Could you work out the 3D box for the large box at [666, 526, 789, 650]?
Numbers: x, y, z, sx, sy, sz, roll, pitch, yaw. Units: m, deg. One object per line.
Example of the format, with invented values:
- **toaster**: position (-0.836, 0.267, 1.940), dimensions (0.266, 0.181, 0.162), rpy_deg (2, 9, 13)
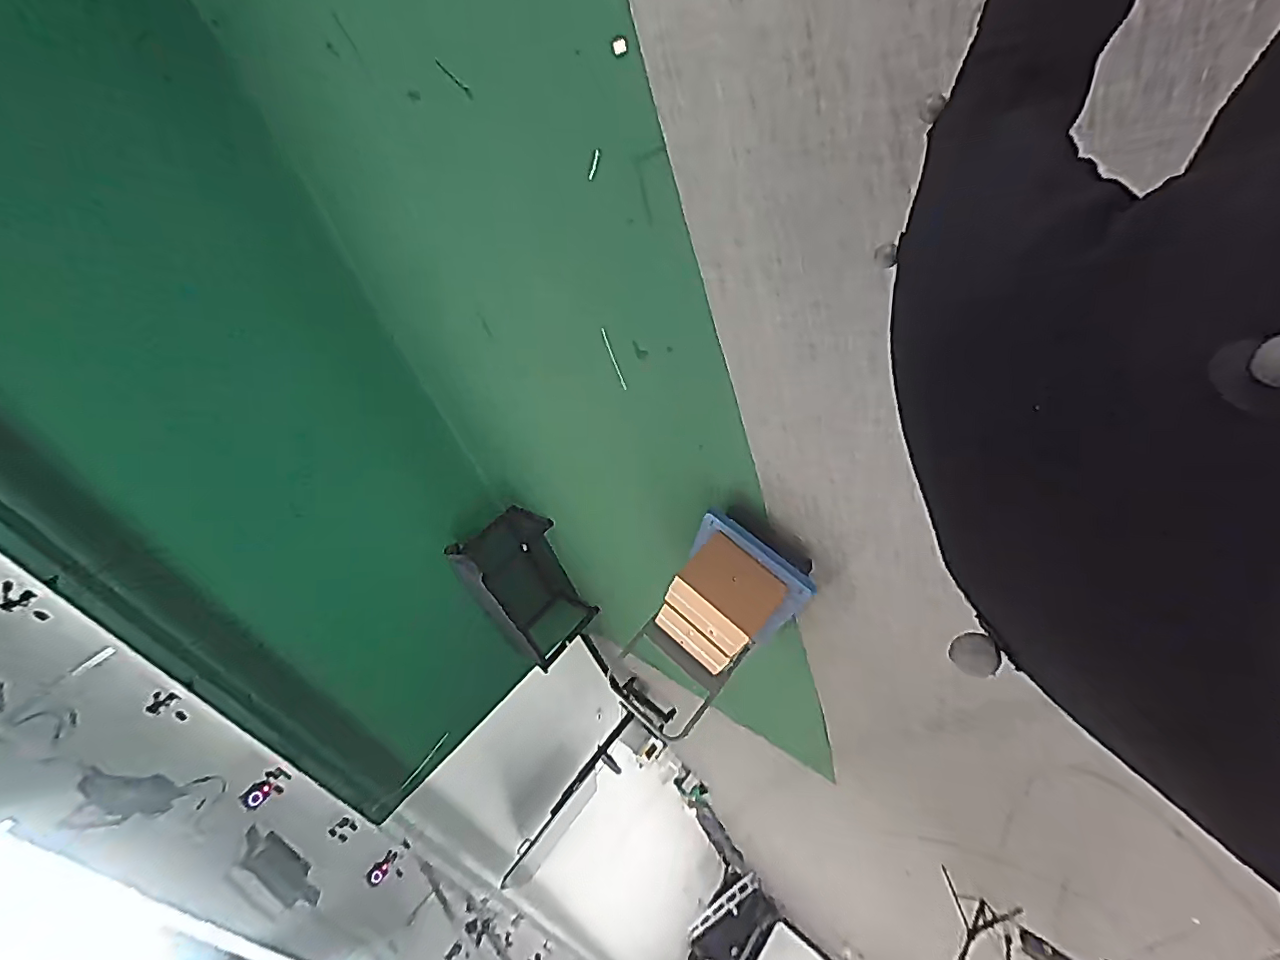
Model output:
- **large box**: position (0.387, 0.488, 2.451), dimensions (0.408, 0.320, 0.320), rpy_deg (38, 152, 14)
